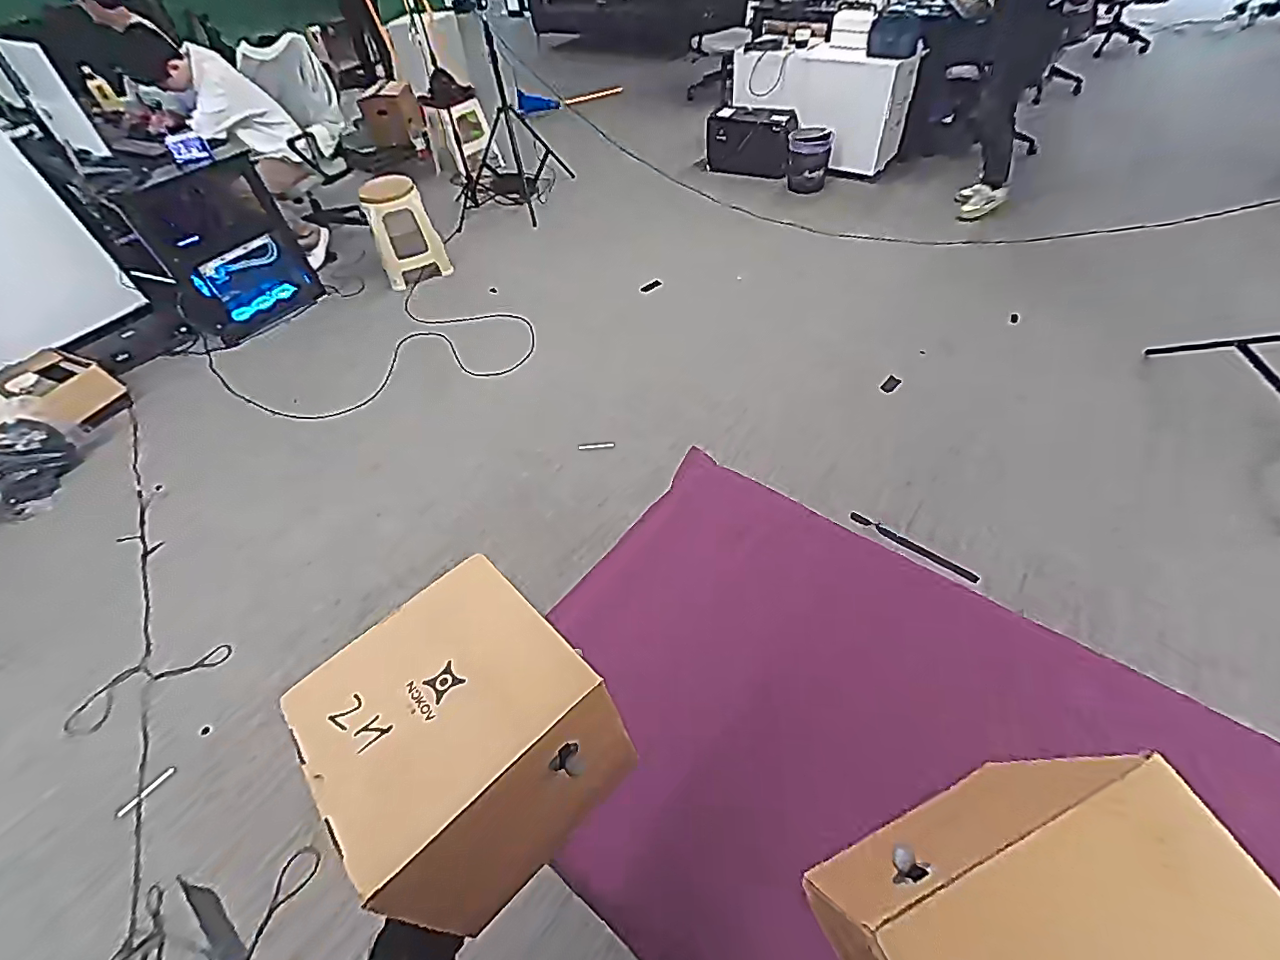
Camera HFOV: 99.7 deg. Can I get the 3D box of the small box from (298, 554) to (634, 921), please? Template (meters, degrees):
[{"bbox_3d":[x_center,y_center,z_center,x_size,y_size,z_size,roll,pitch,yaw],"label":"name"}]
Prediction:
[{"bbox_3d":[-0.120,0.201,0.434,0.179,0.176,0.168,-38,50,-23],"label":"small box"}]

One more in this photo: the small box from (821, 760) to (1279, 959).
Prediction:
[{"bbox_3d":[0.229,0.276,0.298,0.179,0.176,0.168,-24,62,-8],"label":"small box"}]
